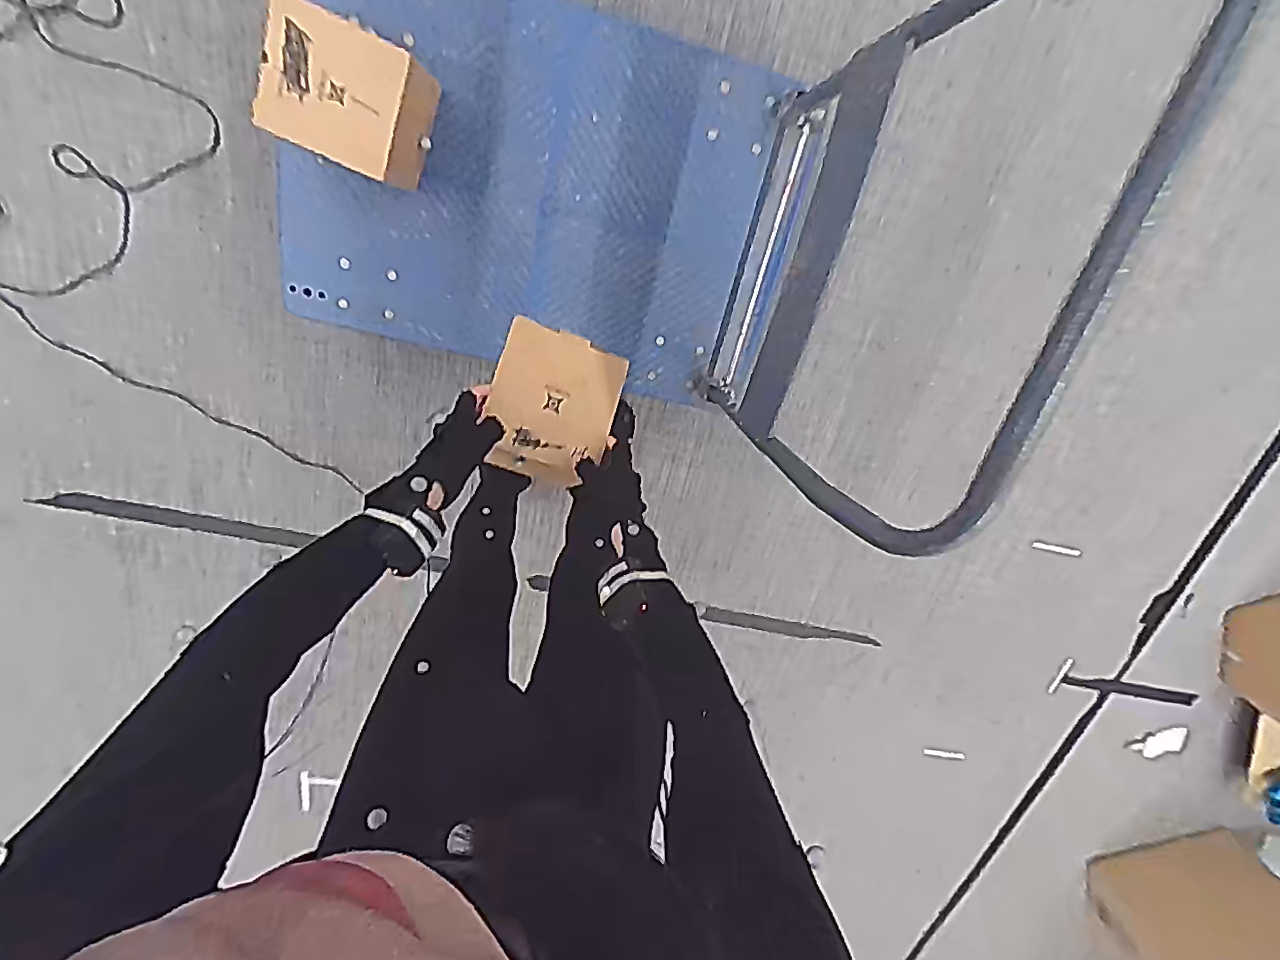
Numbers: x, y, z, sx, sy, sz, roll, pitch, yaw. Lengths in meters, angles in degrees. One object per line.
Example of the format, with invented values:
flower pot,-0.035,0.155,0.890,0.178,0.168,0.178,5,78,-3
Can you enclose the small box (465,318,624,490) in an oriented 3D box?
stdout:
small box,-0.145,-0.096,0.775,0.168,0.176,0.179,20,78,-18

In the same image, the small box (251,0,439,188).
small box,-0.422,-0.554,0.798,0.179,0.176,0.168,20,110,-14
